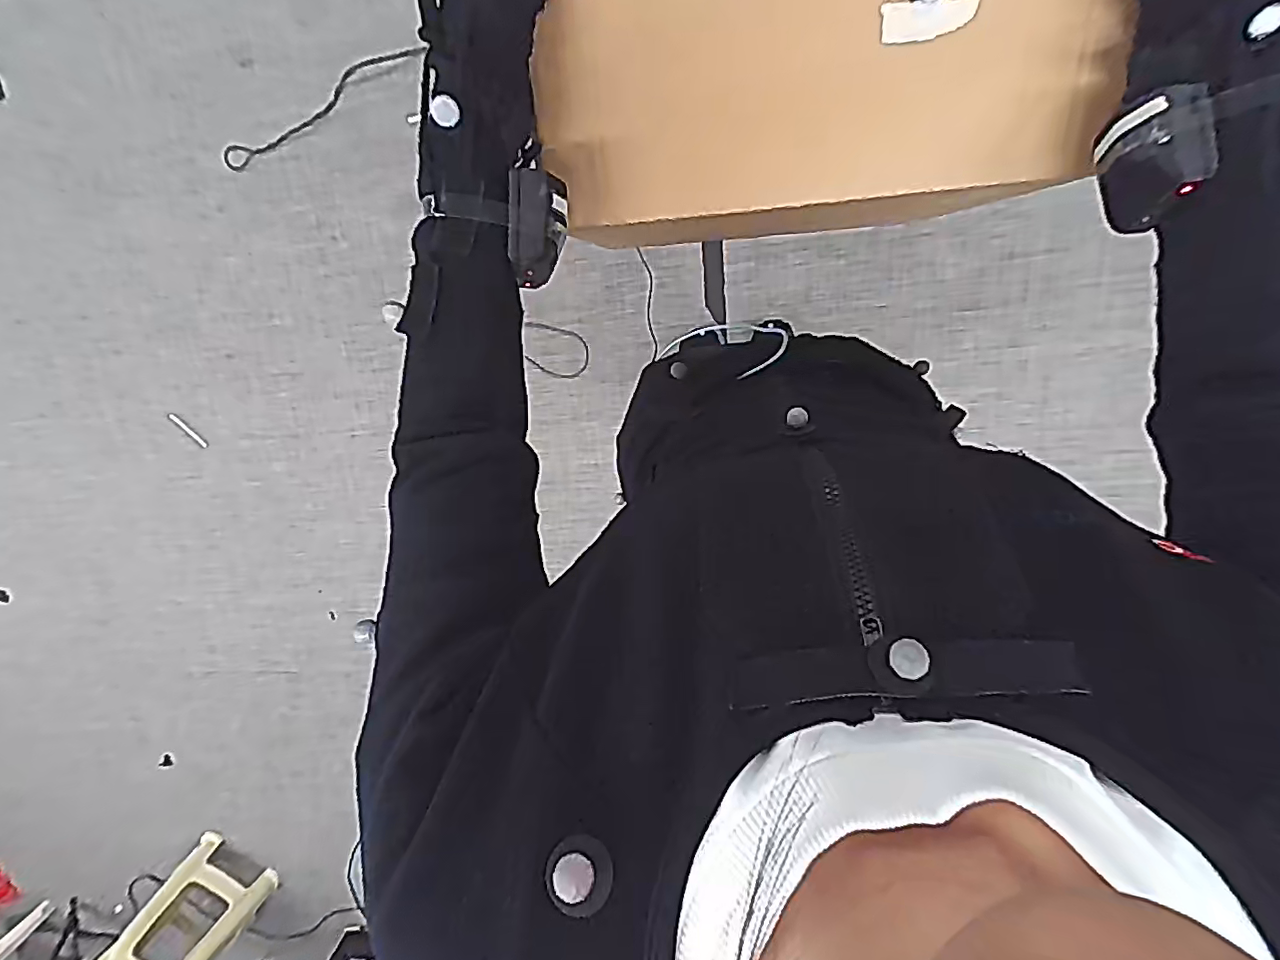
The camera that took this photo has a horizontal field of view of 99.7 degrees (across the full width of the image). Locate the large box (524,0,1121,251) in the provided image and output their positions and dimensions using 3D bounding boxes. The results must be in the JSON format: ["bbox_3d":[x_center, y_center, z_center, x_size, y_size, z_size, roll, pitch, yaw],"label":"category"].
[{"bbox_3d":[0.122,-0.407,0.495,0.408,0.320,0.320,-4,110,5],"label":"large box"}]
